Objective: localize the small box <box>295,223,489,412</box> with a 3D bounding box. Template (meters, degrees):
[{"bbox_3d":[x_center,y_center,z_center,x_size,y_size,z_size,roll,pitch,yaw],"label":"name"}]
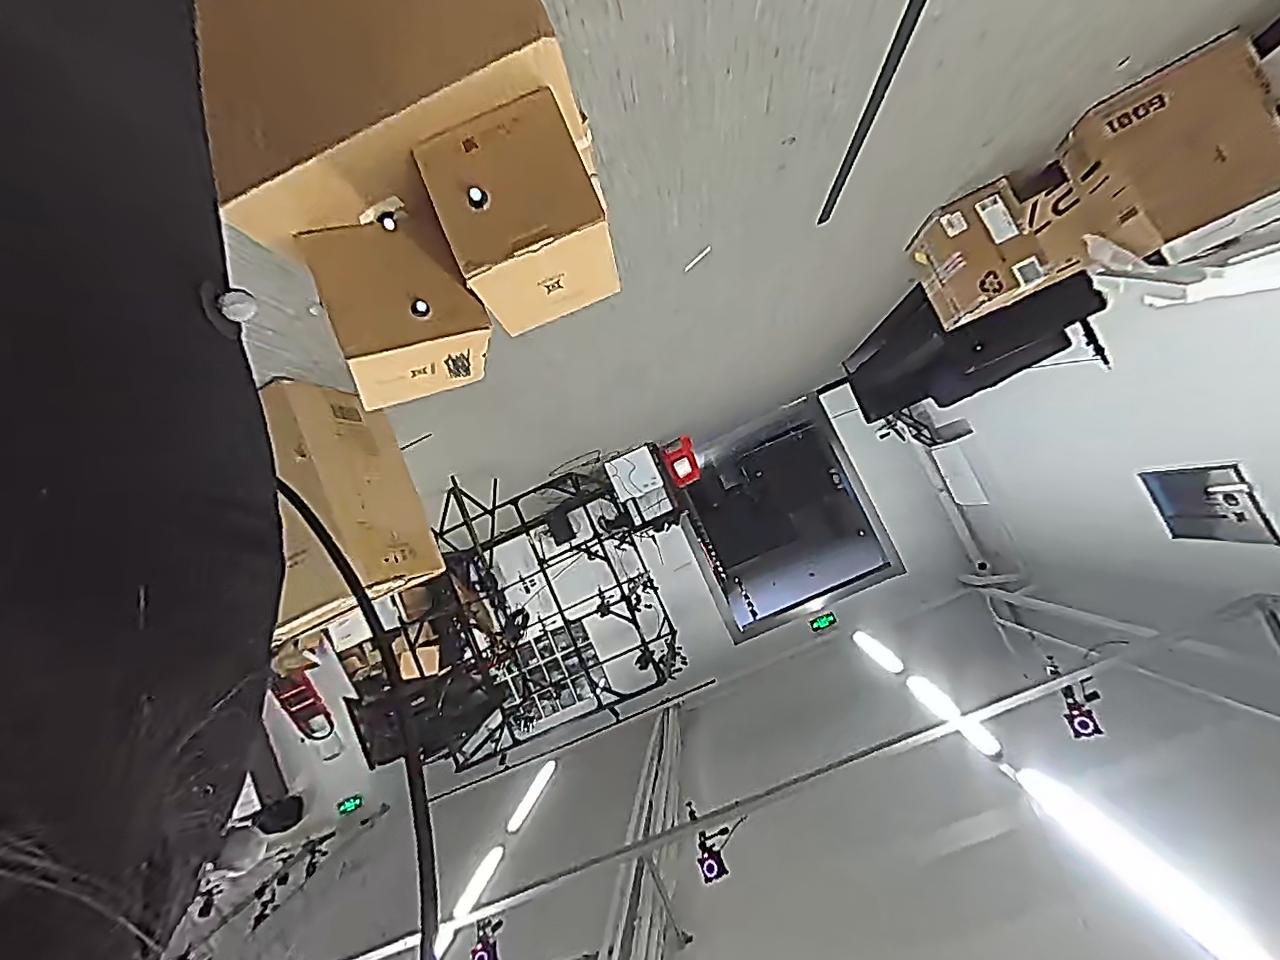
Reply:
[{"bbox_3d":[-0.323,-0.216,0.720,0.179,0.176,0.168,-21,174,-25],"label":"small box"}]

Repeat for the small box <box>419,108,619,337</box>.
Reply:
[{"bbox_3d":[-0.137,-0.307,0.656,0.168,0.176,0.179,-22,175,1],"label":"small box"}]

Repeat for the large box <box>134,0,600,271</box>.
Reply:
[{"bbox_3d":[-0.312,-0.490,0.708,0.408,0.320,0.320,-23,174,4],"label":"large box"}]
